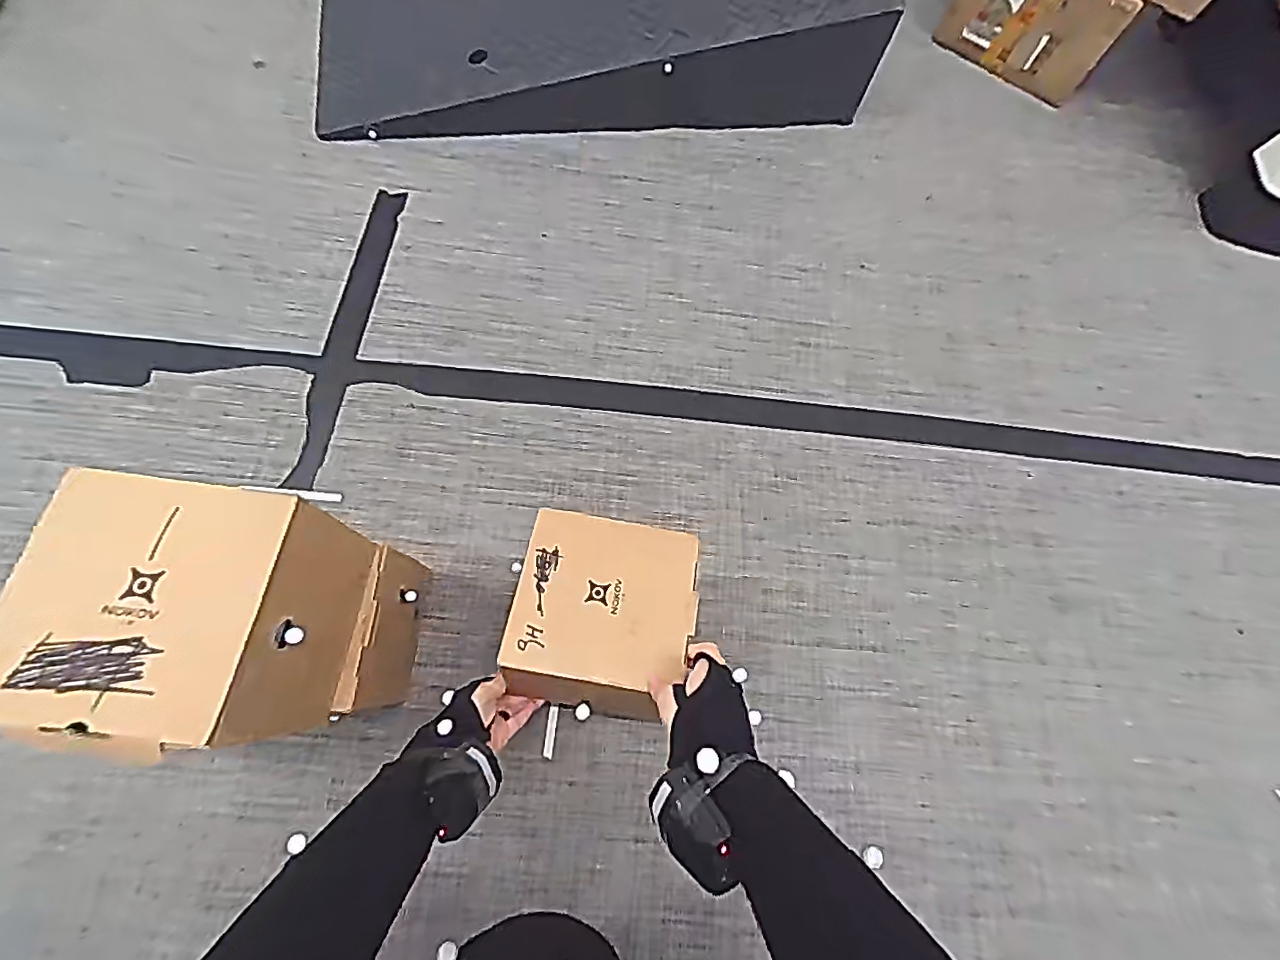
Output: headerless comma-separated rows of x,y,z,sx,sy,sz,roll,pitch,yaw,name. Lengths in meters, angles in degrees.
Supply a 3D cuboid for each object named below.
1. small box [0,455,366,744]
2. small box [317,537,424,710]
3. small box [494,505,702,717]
-0.352,0.101,0.441,0.168,0.176,0.179,9,69,-3,small box
-0.358,0.152,0.597,0.179,0.176,0.168,6,71,-4,small box
-0.044,0.152,0.593,0.179,0.176,0.168,13,58,-2,small box
